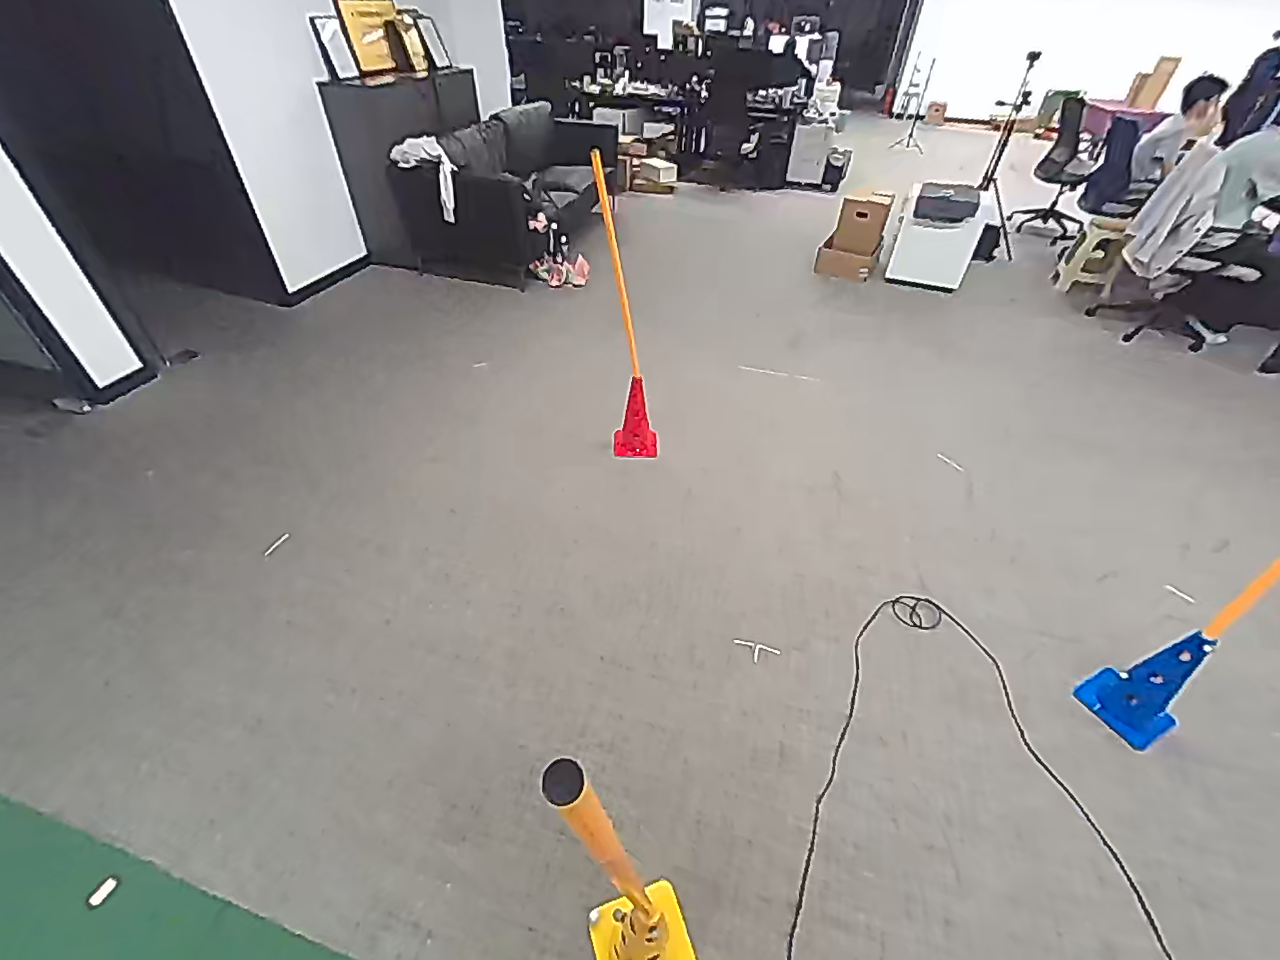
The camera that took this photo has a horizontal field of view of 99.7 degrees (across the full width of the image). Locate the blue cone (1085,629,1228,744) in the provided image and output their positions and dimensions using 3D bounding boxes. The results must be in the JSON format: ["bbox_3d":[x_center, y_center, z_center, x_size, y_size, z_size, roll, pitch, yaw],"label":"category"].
[{"bbox_3d":[1.439,0.526,1.479,0.193,0.380,0.192,-17,44,-23],"label":"blue cone"}]
